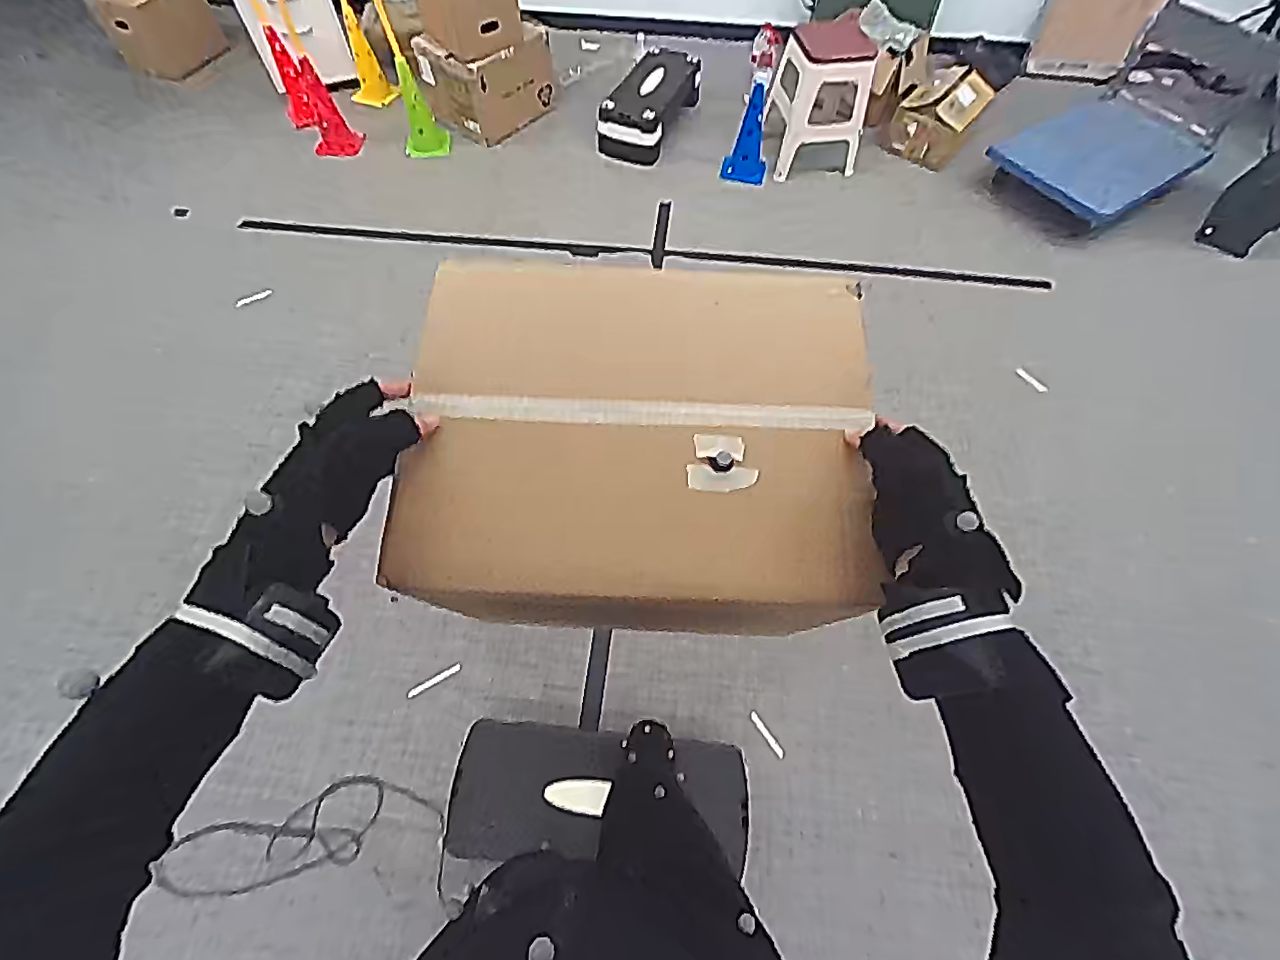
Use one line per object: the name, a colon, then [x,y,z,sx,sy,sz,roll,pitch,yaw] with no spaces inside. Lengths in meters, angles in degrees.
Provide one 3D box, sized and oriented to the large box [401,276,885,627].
large box: [0.001,-0.004,0.627,0.408,0.320,0.320,2,71,-1]
